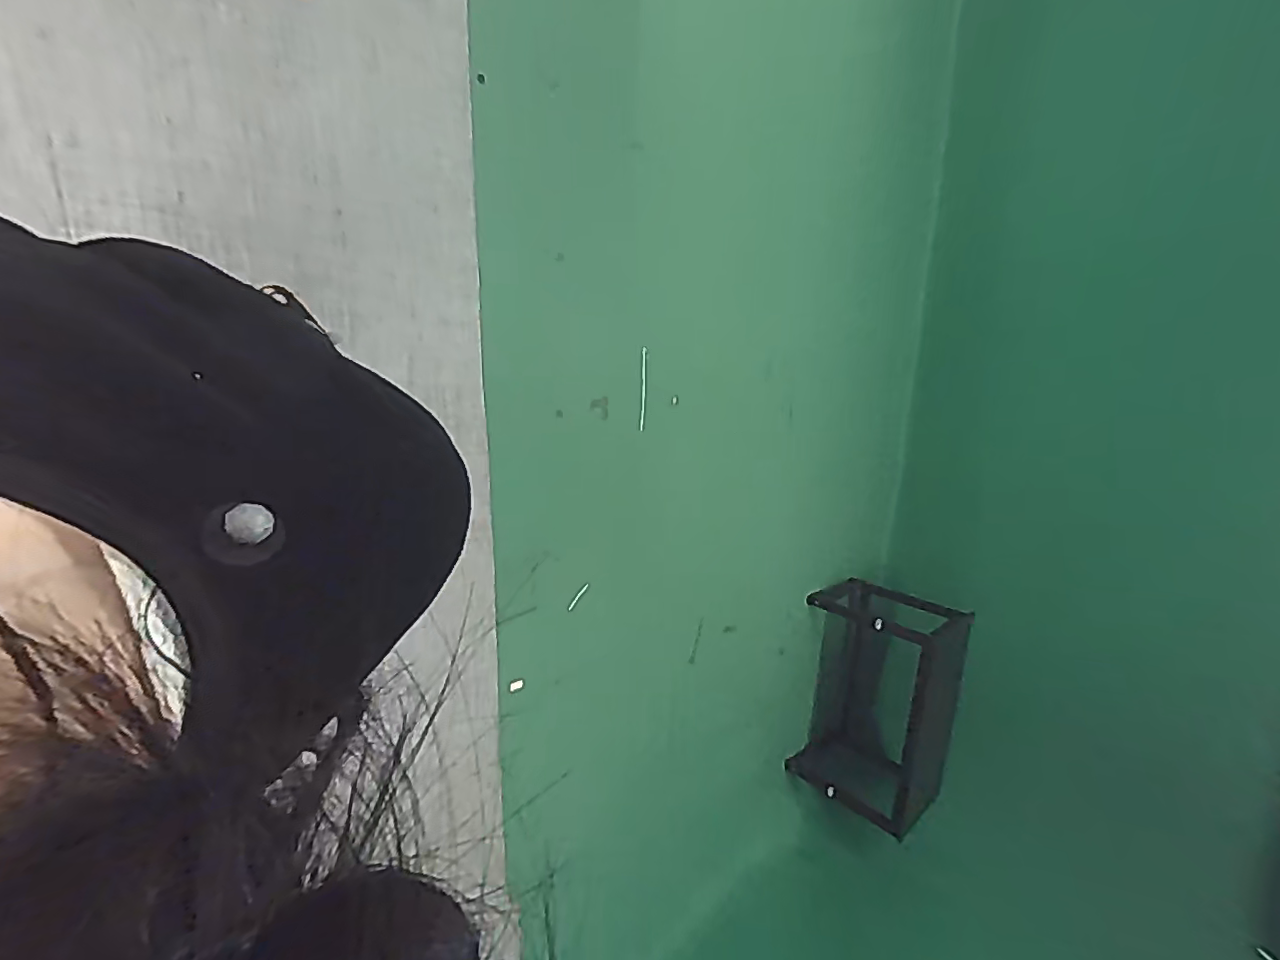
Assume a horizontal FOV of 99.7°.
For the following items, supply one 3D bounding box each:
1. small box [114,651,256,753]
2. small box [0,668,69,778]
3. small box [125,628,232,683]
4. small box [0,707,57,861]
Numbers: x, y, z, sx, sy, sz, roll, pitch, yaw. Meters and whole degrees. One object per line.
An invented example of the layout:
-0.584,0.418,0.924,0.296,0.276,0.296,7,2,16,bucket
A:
-0.871,0.457,1.041,0.179,0.176,0.168,-14,108,-38,small box
-1.191,0.475,0.984,0.179,0.176,0.168,-14,109,-41,small box
-0.976,0.440,1.165,0.168,0.176,0.179,-15,110,-38,small box
-1.080,0.506,0.867,0.168,0.176,0.179,-16,111,-41,small box
